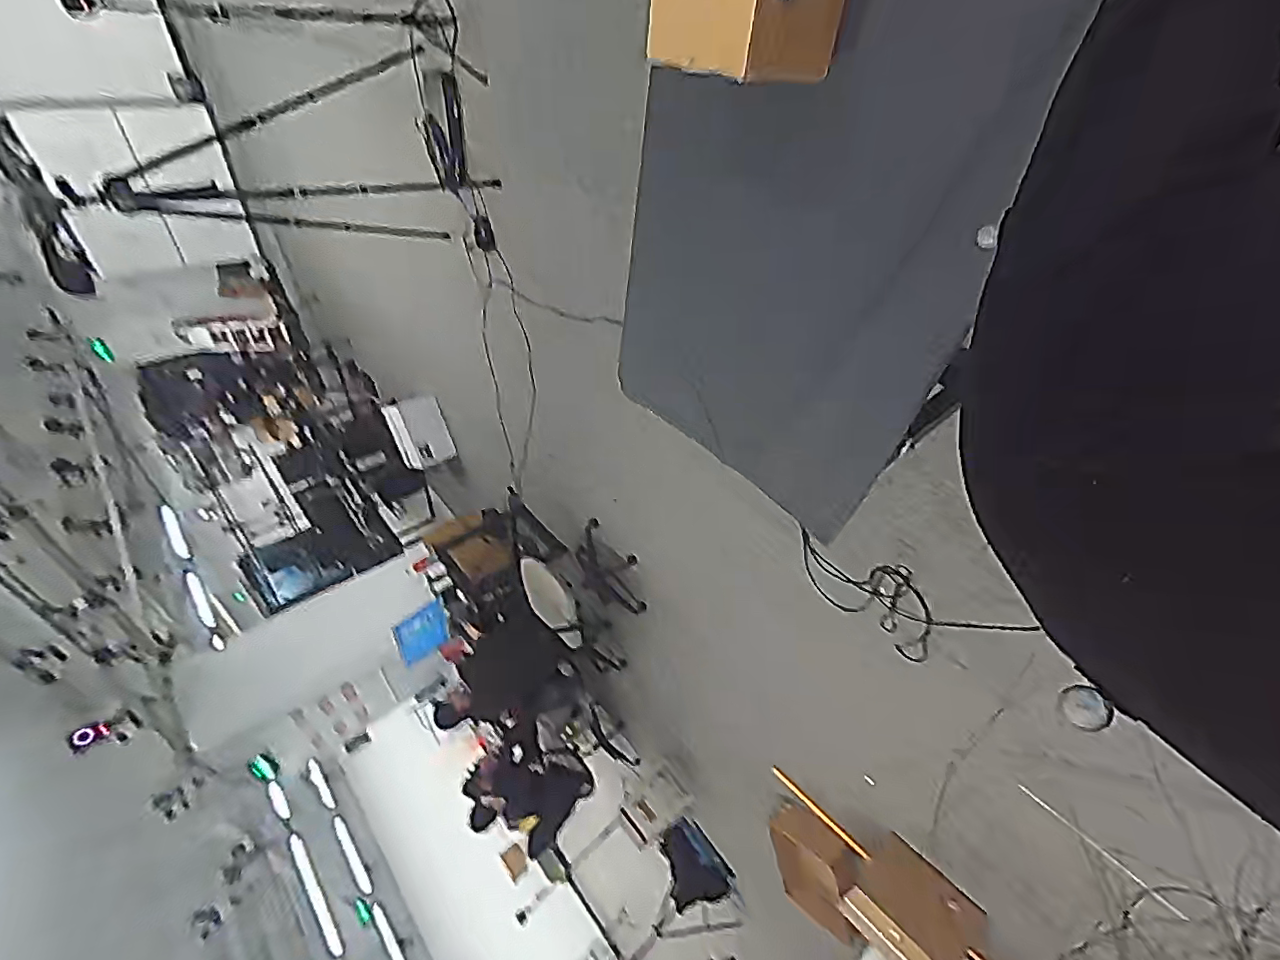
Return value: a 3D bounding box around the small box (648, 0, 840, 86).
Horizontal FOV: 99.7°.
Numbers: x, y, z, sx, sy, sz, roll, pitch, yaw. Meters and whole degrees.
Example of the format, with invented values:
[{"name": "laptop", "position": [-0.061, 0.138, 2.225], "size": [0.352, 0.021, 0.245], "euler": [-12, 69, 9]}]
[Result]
[{"name": "small box", "position": [0.130, -0.590, 0.646], "size": [0.168, 0.176, 0.179], "euler": [38, 141, 32]}]
